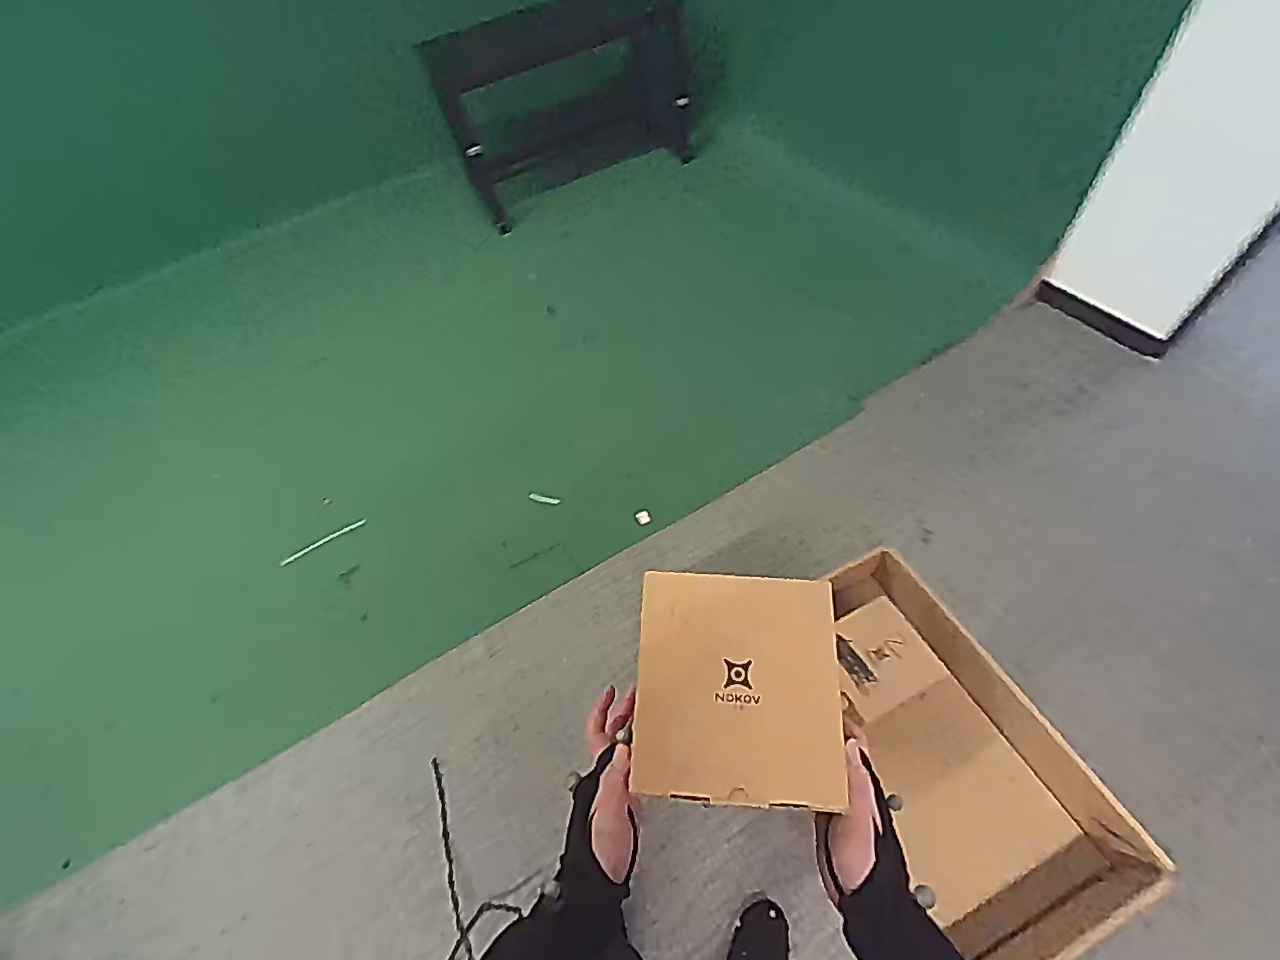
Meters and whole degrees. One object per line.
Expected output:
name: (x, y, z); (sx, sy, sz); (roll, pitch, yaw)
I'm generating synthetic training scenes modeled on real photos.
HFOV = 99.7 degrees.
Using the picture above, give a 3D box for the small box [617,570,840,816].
small box: (0.069, 0.195, 0.501); (0.168, 0.176, 0.179); (2, 65, 2)
